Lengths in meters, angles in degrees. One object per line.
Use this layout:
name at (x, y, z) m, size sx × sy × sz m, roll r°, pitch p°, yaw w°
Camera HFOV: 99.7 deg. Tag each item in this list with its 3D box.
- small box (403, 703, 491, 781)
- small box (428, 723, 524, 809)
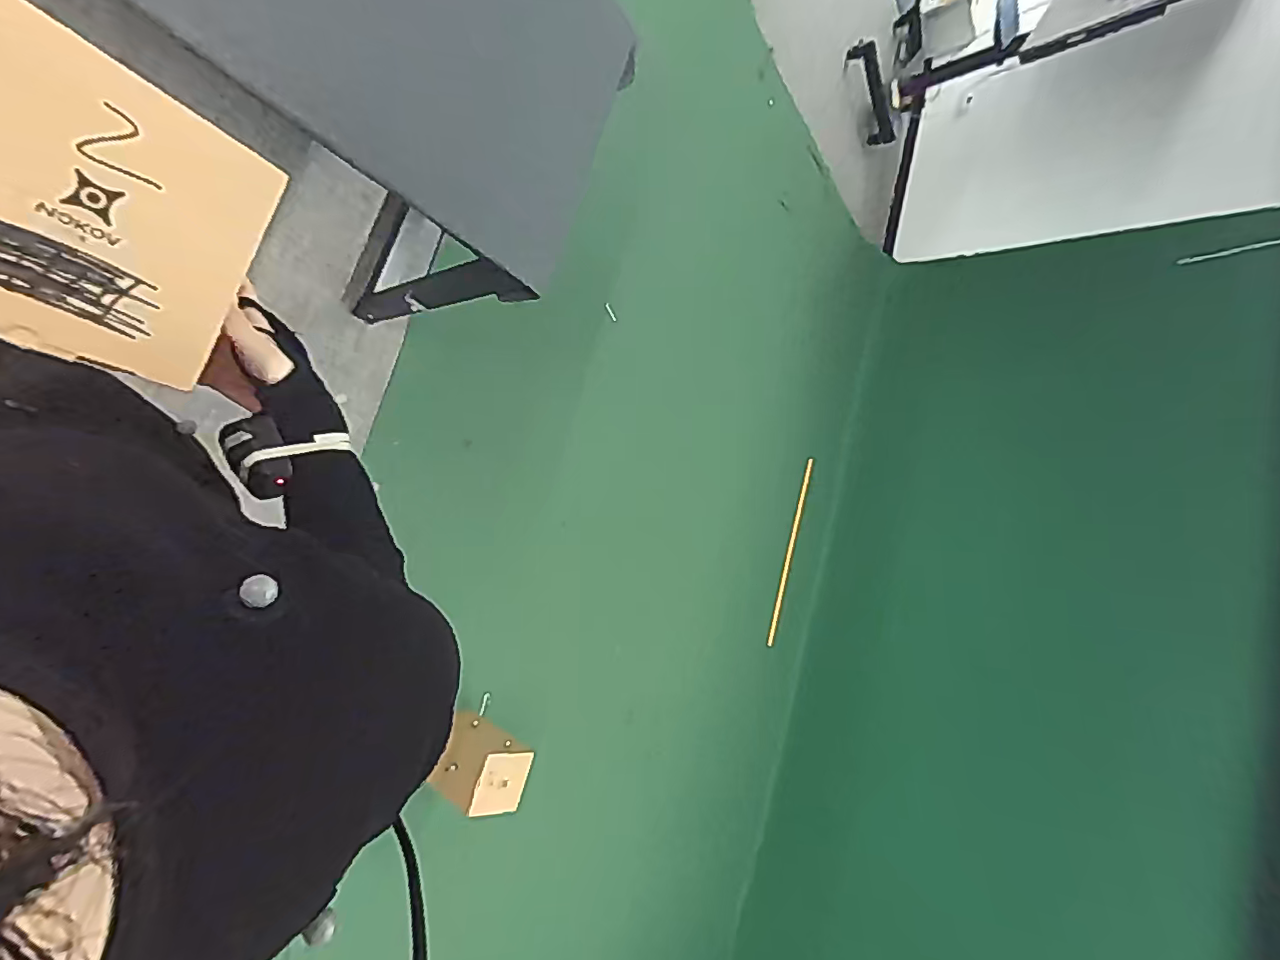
small box at (-0.602, 0.807, 1.679) m, size 0.179 × 0.176 × 0.168 m, roll 28°, pitch 75°, yaw -48°
small box at (-0.477, 0.823, 1.571) m, size 0.179 × 0.176 × 0.168 m, roll 31°, pitch 73°, yaw -47°
